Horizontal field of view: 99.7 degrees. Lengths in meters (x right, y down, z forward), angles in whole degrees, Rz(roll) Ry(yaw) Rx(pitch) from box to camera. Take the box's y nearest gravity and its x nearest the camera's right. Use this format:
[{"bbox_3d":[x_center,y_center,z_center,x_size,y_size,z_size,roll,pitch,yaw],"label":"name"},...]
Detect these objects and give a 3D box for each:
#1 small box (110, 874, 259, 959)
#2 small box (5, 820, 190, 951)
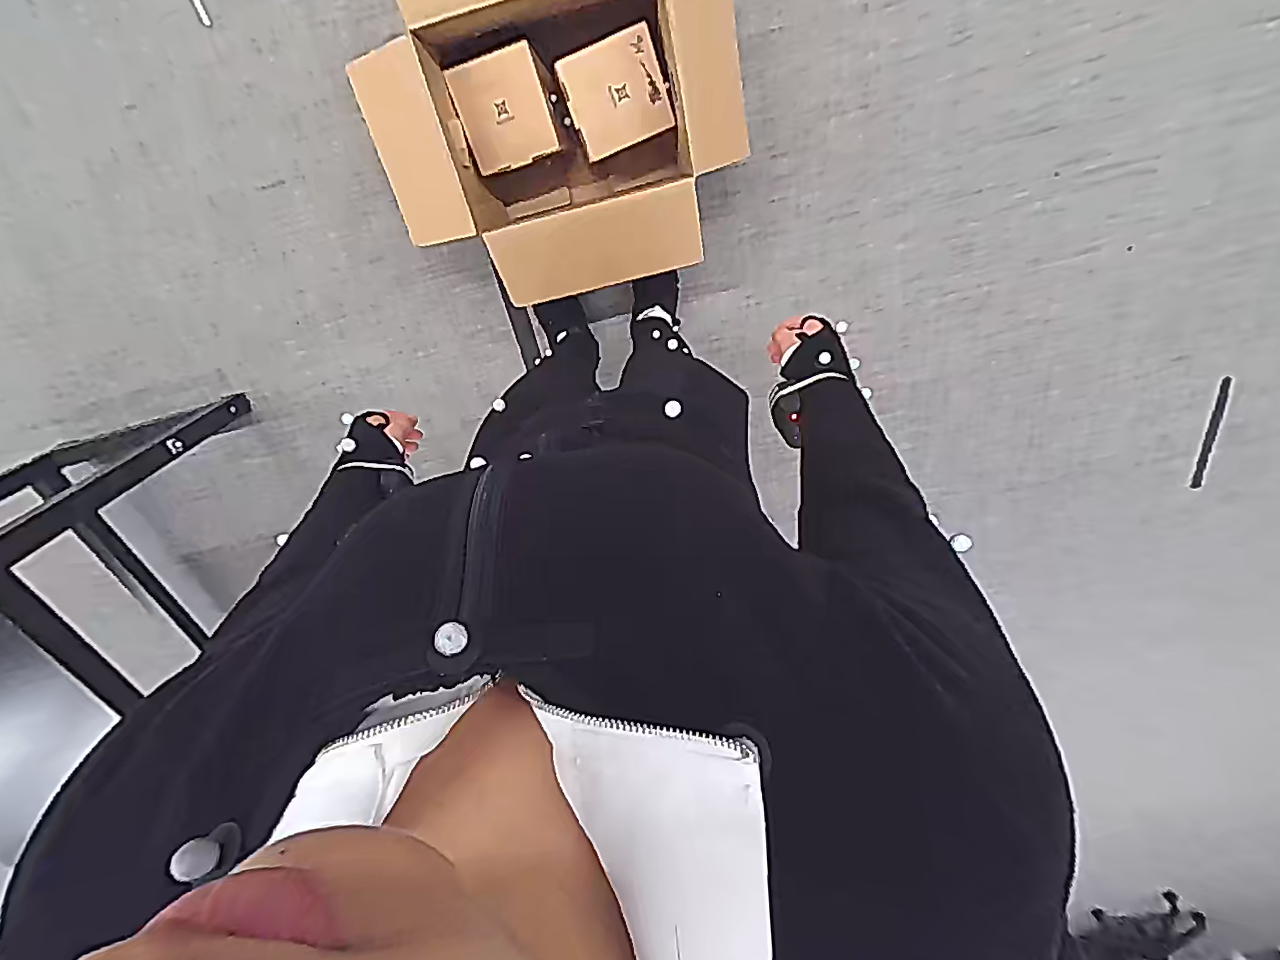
[{"bbox_3d":[-1.056,1.063,1.267,0.179,0.176,0.168,-14,120,6],"label":"small box"},{"bbox_3d":[-1.120,0.841,1.135,0.168,0.176,0.179,-12,119,7],"label":"small box"}]
